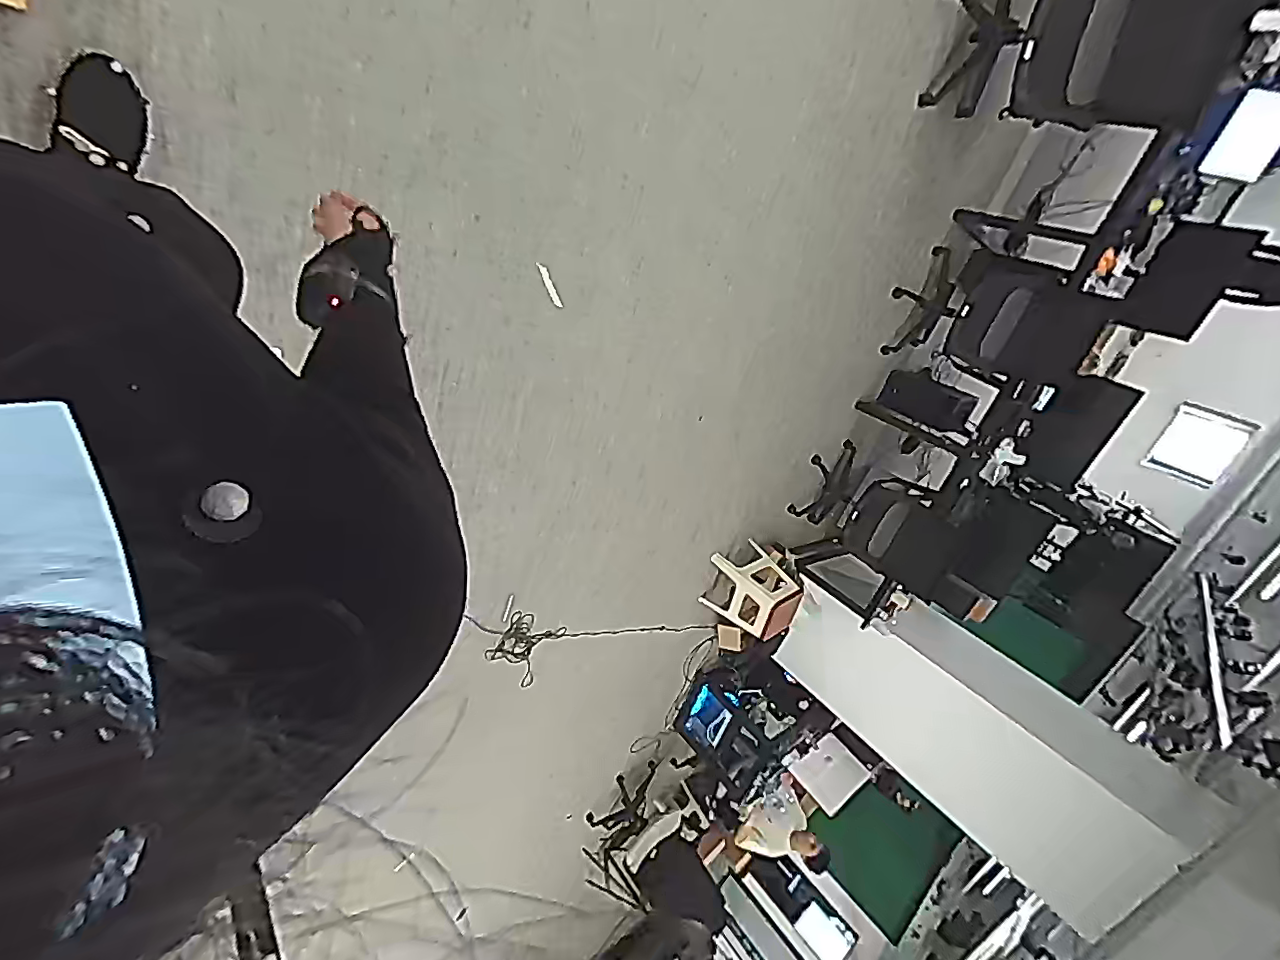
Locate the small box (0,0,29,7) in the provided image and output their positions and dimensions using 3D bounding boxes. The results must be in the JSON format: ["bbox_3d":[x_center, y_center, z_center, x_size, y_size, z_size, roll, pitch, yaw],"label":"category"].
[{"bbox_3d":[-0.935,-0.758,0.704,0.168,0.176,0.179,-7,124,-43],"label":"small box"}]
